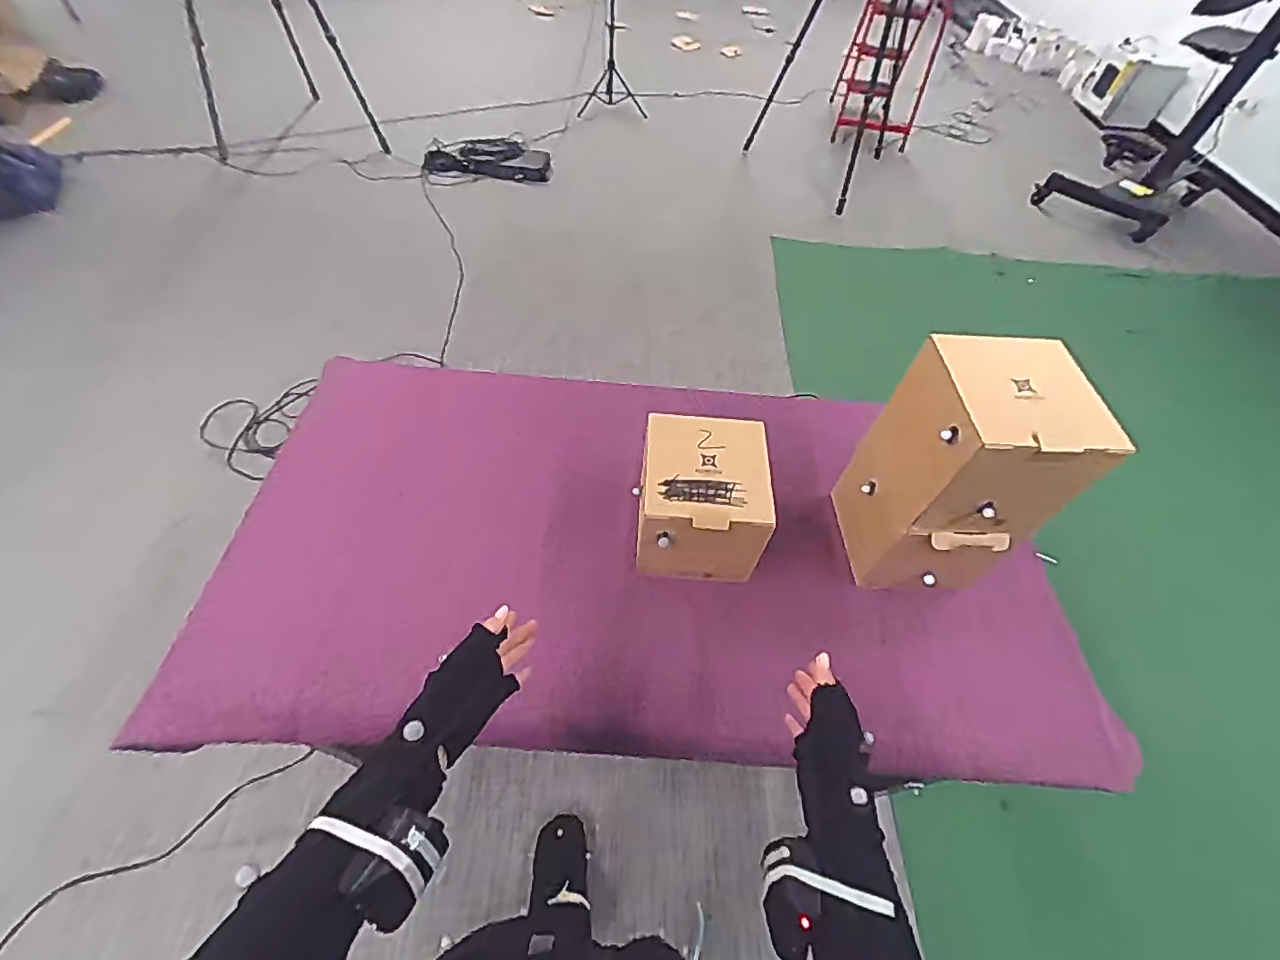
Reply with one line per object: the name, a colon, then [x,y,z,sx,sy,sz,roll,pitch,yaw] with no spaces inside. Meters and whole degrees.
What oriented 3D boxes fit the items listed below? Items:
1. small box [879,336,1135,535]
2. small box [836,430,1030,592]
small box: [0.422,-0.051,0.663,0.168,0.176,0.179,2,55,-4]
small box: [0.407,0.047,0.792,0.168,0.176,0.179,1,54,-3]
